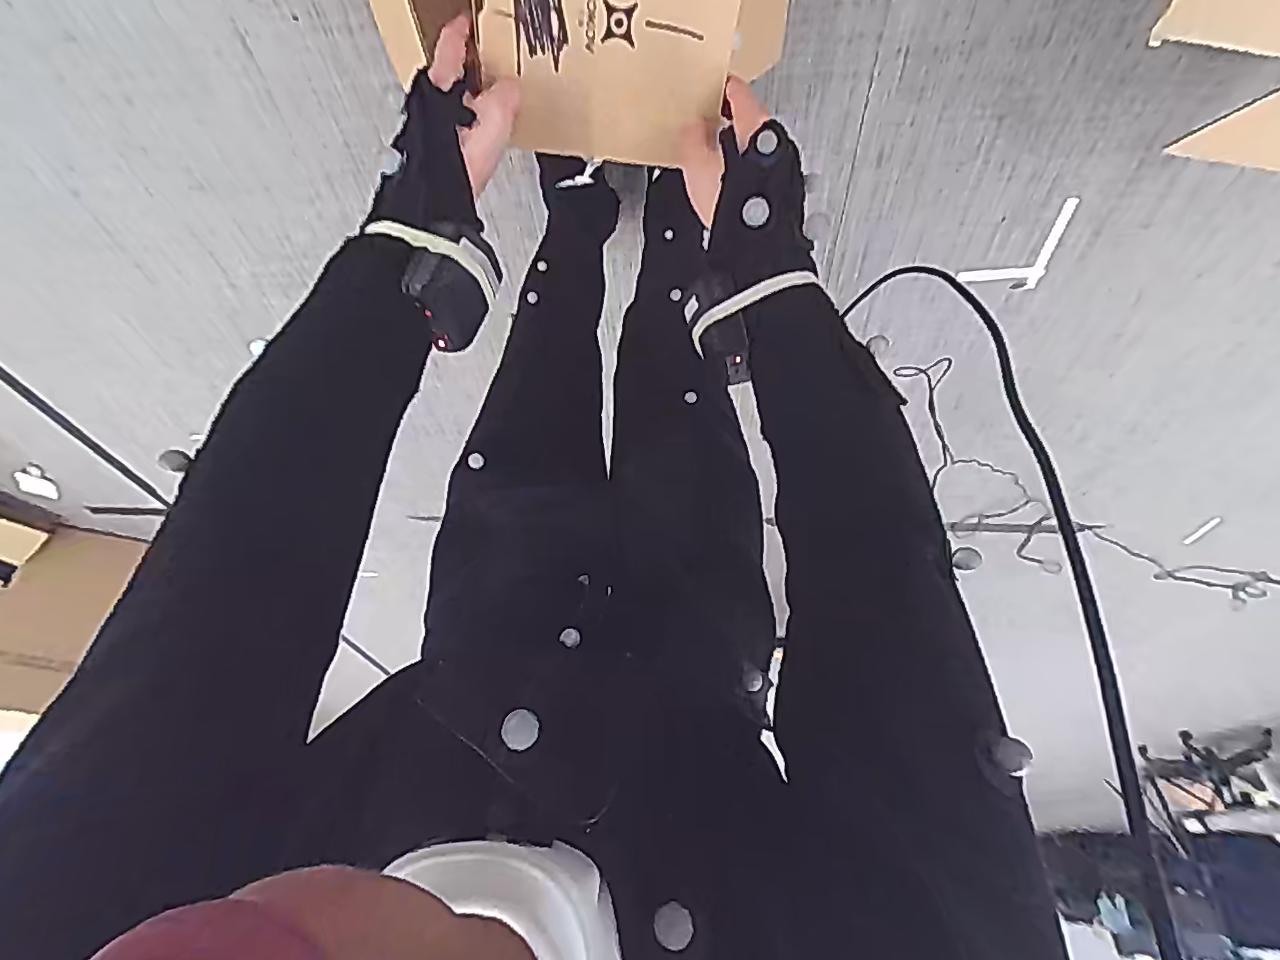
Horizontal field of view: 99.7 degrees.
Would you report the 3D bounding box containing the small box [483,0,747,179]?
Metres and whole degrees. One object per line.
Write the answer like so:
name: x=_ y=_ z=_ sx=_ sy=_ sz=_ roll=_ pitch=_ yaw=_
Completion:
small box: x=-0.016 y=-0.357 z=0.423 sx=0.179 sy=0.176 sz=0.168 roll=6 pitch=133 yaw=-4
